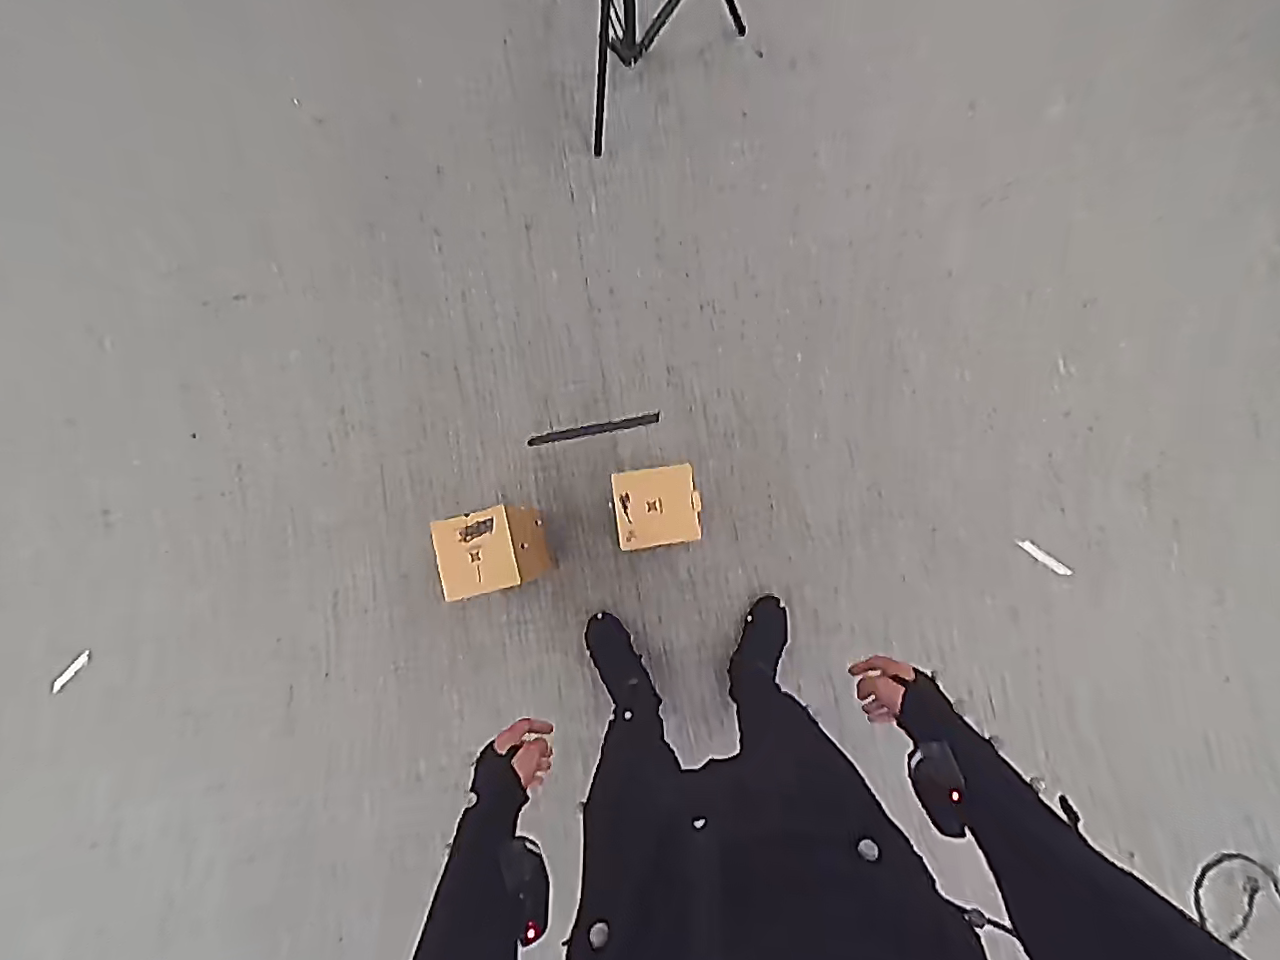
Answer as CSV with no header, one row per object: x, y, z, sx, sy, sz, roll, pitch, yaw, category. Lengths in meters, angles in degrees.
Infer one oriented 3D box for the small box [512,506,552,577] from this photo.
-0.335,0.175,1.382,0.168,0.176,0.179,-16,84,0,small box

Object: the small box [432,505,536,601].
-0.345,0.163,1.219,0.168,0.176,0.179,-14,84,0,small box

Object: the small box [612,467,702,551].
0.034,0.068,1.222,0.179,0.176,0.168,-7,83,-1,small box
